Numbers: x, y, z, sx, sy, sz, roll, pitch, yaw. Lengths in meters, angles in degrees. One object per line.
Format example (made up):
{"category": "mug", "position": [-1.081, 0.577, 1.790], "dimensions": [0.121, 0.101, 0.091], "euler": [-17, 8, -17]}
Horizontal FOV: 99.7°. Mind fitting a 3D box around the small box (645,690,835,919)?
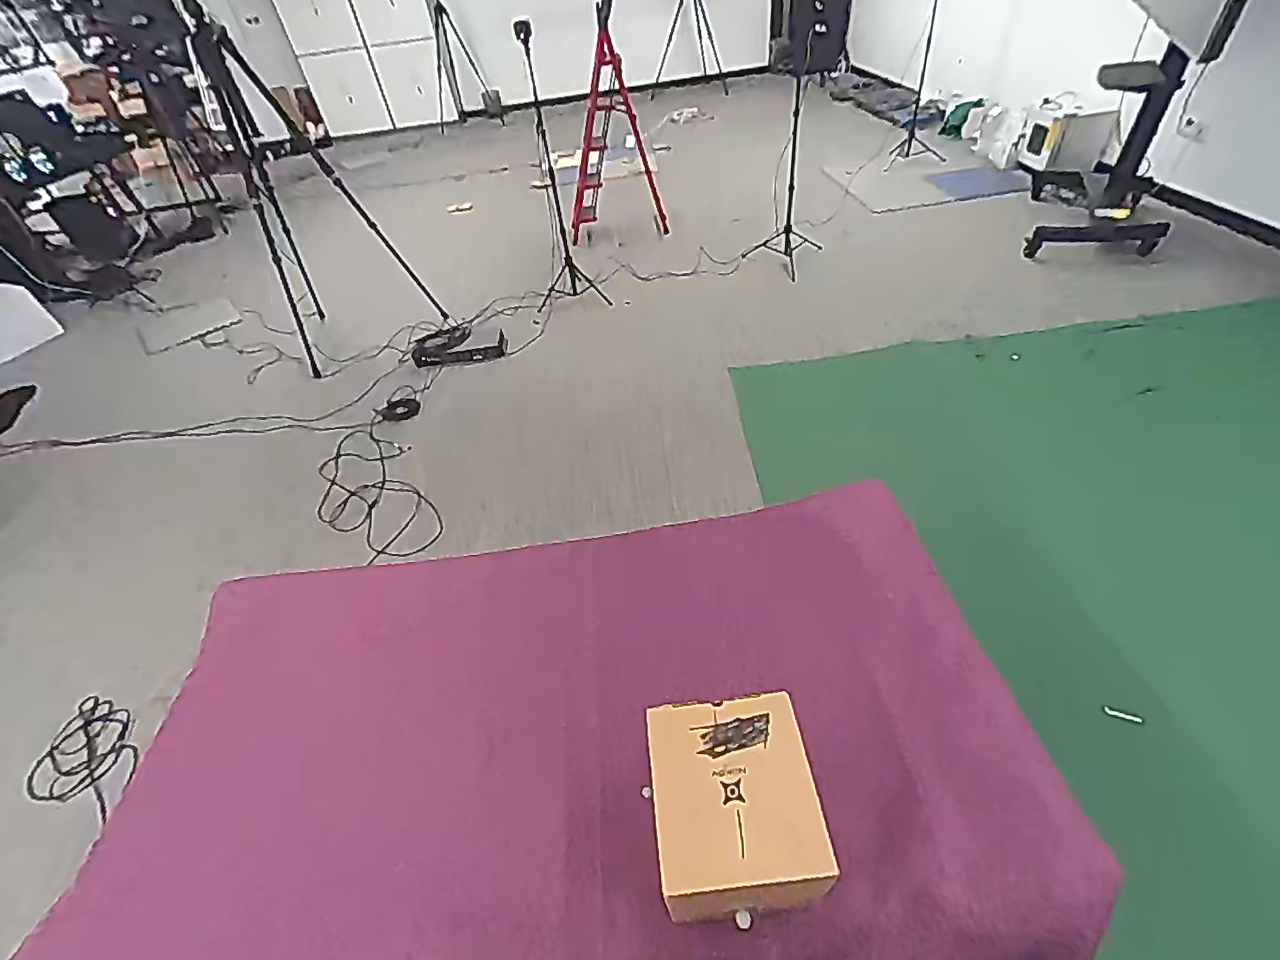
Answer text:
{"category": "small box", "position": [0.099, 0.362, 0.604], "dimensions": [0.168, 0.176, 0.179], "euler": [-8, 45, 2]}
